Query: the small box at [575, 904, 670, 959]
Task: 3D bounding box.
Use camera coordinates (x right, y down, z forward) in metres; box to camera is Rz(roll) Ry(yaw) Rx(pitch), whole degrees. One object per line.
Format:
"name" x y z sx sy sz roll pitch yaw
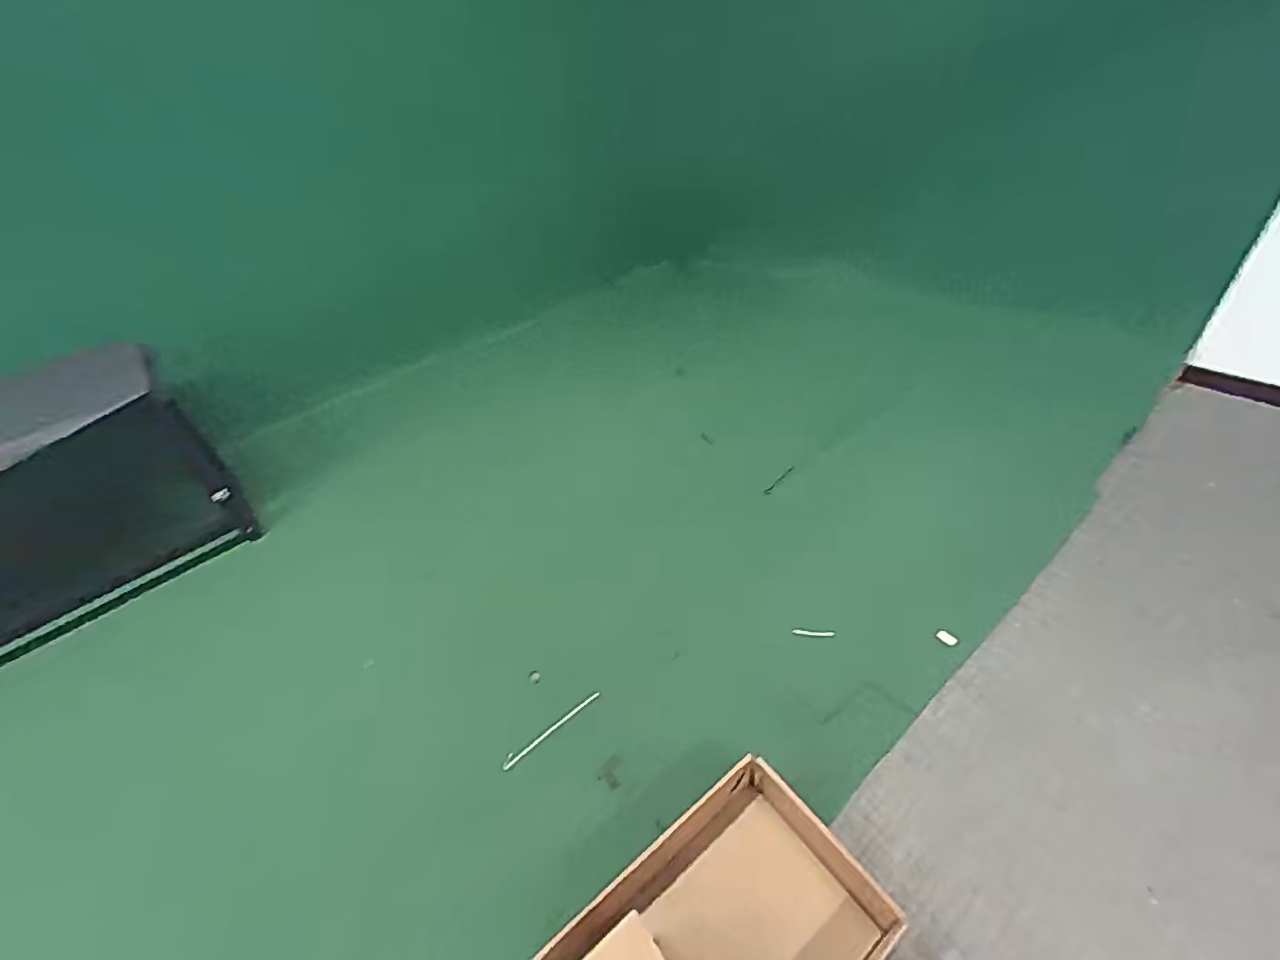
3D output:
"small box" -0.020 0.847 0.874 0.179 0.176 0.168 -30 47 -24
